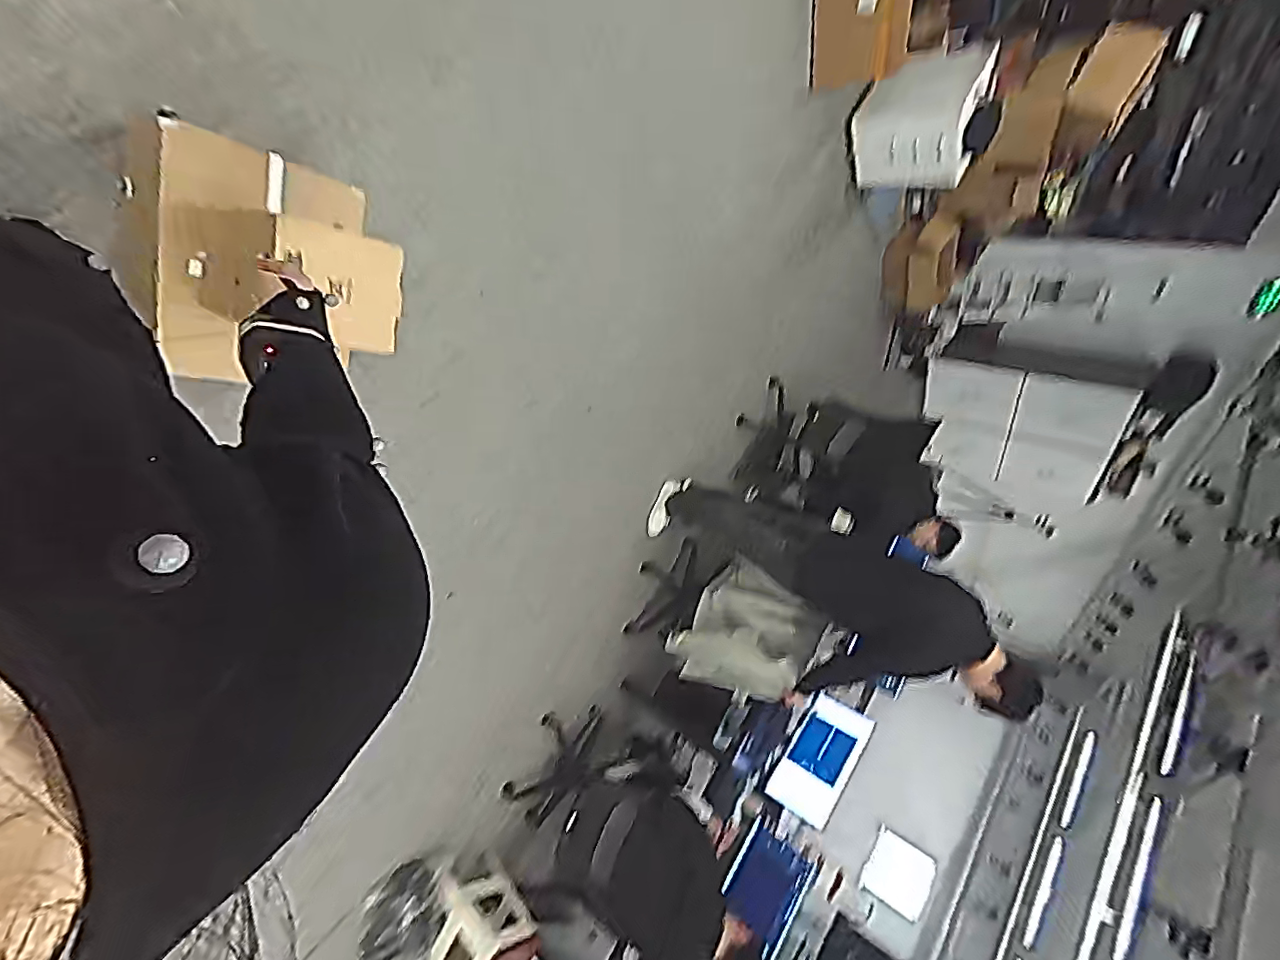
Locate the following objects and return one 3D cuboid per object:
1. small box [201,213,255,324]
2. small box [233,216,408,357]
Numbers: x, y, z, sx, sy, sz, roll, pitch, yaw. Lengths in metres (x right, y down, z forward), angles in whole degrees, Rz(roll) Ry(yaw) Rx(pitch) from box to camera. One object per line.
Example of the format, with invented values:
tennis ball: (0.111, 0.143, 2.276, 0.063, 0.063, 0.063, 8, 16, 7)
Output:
small box: (-0.618, -0.348, 0.927, 0.179, 0.176, 0.168, -4, 111, -51)
small box: (-0.492, -0.297, 0.834, 0.179, 0.176, 0.168, -4, 111, -52)
